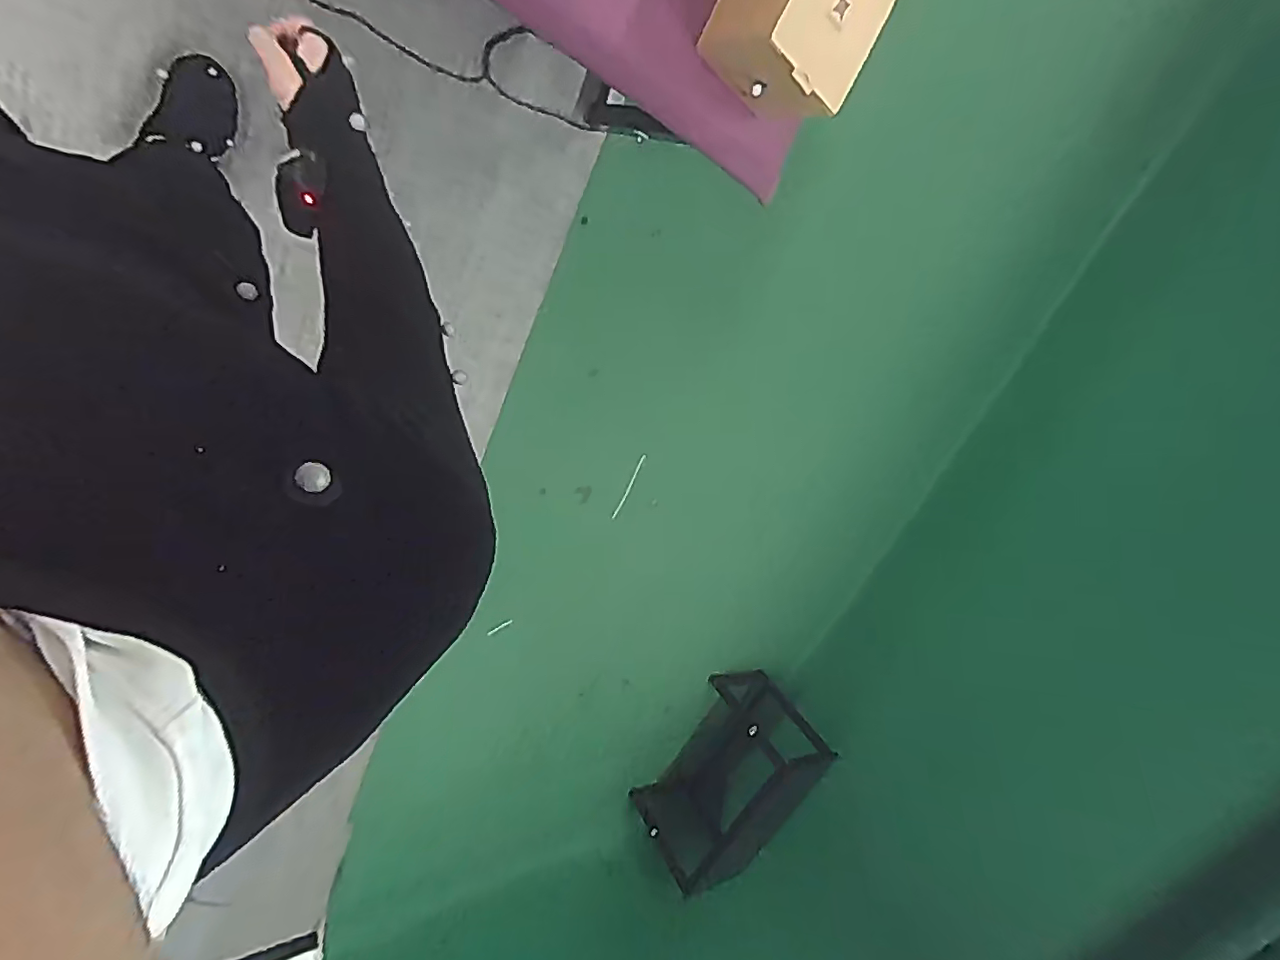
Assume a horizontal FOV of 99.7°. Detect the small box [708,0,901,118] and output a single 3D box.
[{"bbox_3d":[0.222,-0.654,0.767,0.168,0.176,0.179,14,112,-41],"label":"small box"}]
